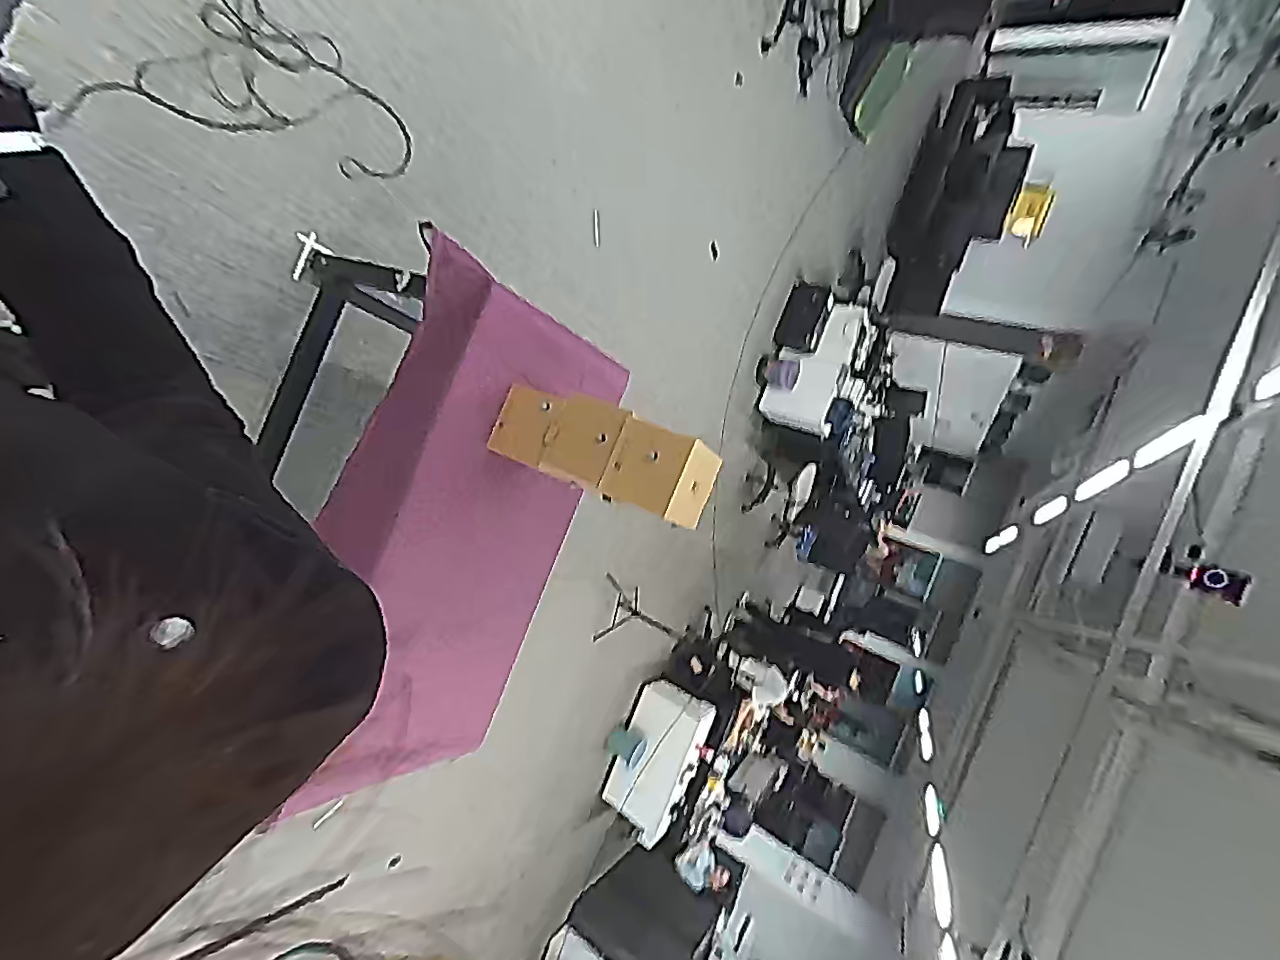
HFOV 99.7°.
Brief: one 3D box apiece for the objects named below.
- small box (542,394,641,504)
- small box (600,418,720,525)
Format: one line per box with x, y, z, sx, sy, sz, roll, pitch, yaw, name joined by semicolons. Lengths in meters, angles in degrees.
-0.090;-0.072;1.216;0.179;0.176;0.168;-64;151;-8;small box
0.041;-0.019;1.134;0.179;0.176;0.168;26;86;-63;small box
